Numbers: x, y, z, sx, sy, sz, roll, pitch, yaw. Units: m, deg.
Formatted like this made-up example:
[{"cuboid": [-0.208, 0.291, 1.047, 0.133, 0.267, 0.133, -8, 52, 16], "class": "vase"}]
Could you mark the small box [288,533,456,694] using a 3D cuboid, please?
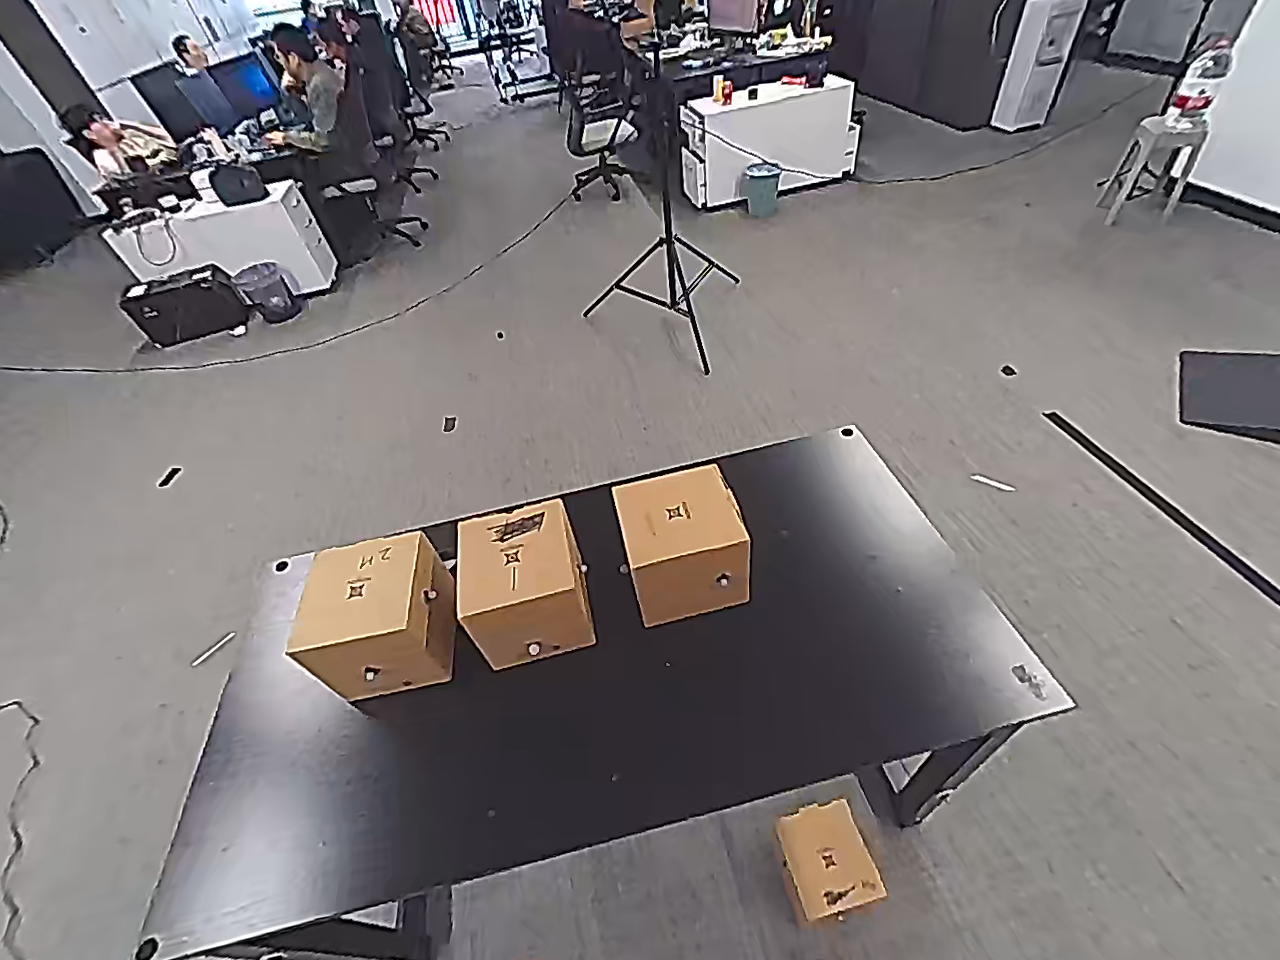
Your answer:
[{"cuboid": [-0.397, 0.213, 0.840, 0.168, 0.176, 0.179, -11, 45, -2], "class": "small box"}]

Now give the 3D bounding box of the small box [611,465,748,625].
[{"cuboid": [0.063, 0.107, 0.868, 0.179, 0.176, 0.168, -14, 45, -3], "class": "small box"}]

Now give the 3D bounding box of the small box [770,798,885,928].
[{"cuboid": [0.385, 0.814, 1.148, 0.168, 0.176, 0.179, -15, 45, -4], "class": "small box"}]

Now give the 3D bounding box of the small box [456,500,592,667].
[{"cuboid": [-0.178, 0.164, 0.851, 0.168, 0.176, 0.179, -14, 46, -4], "class": "small box"}]
